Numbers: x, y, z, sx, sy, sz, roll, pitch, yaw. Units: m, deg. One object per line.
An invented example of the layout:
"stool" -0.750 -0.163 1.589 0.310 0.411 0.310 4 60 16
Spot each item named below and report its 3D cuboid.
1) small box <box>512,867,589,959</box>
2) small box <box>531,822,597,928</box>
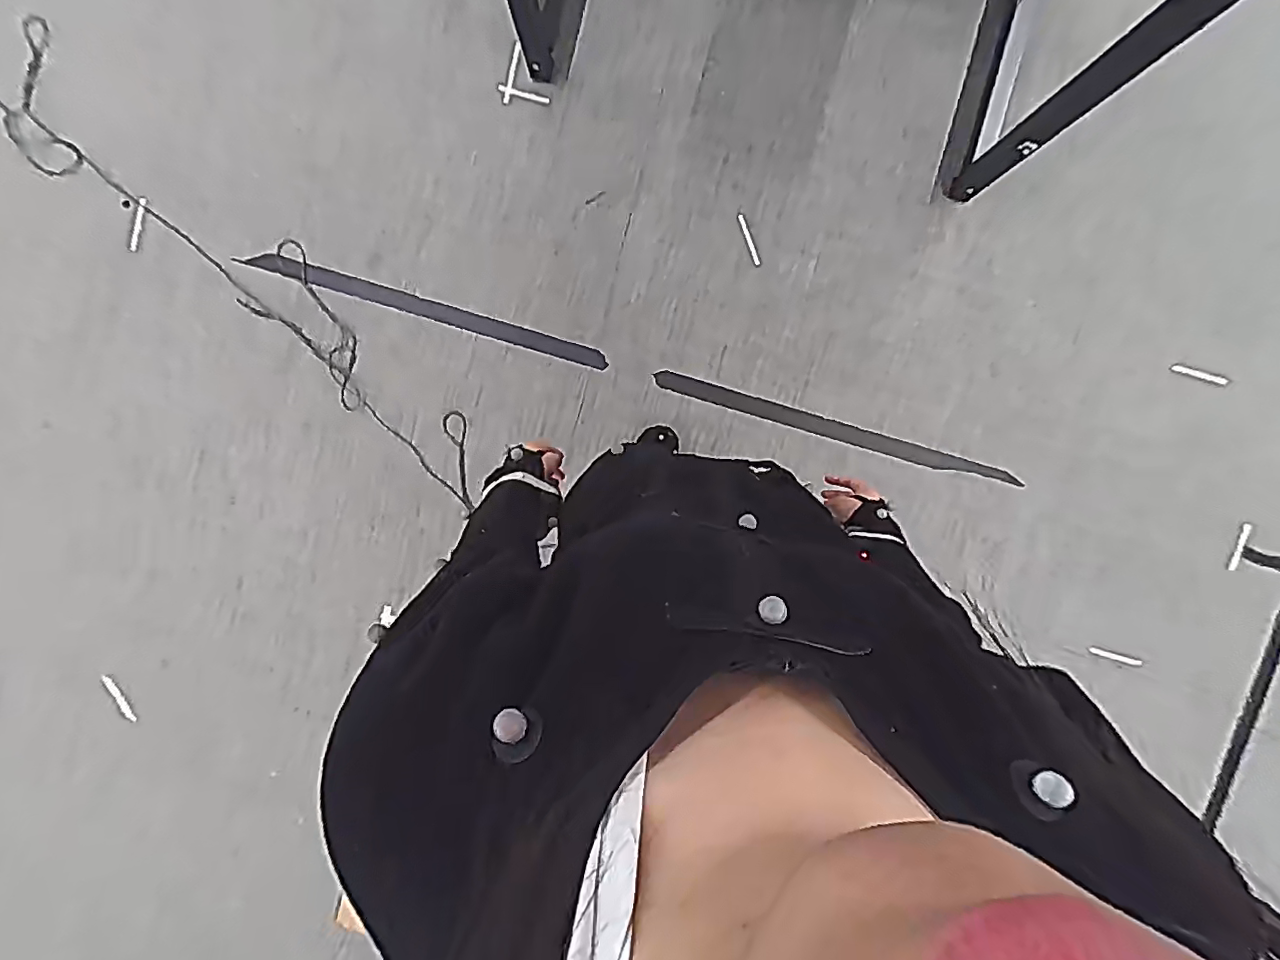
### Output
"small box" -0.213 1.093 1.319 0.168 0.176 0.179 2 95 -2
"small box" -0.206 1.074 1.483 0.168 0.176 0.179 2 94 0
